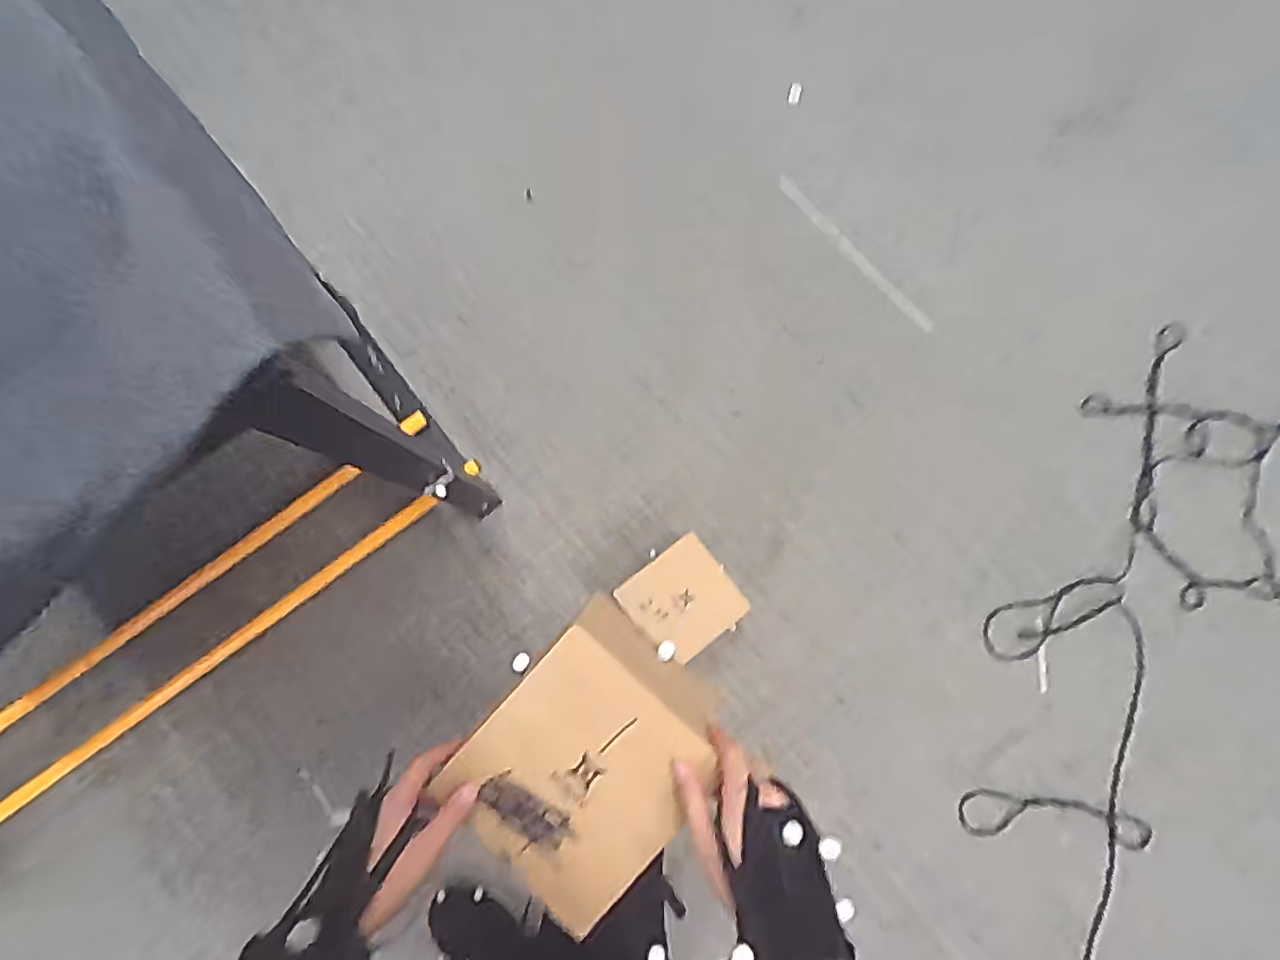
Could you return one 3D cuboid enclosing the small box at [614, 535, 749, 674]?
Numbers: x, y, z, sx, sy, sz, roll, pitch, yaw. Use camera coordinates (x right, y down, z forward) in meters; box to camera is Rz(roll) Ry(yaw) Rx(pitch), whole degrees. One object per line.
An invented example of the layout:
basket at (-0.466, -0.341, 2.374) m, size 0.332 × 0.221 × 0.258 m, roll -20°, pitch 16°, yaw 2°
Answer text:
small box at (0.066, 0.220, 0.985) m, size 0.179 × 0.176 × 0.168 m, roll -37°, pitch 82°, yaw -8°
